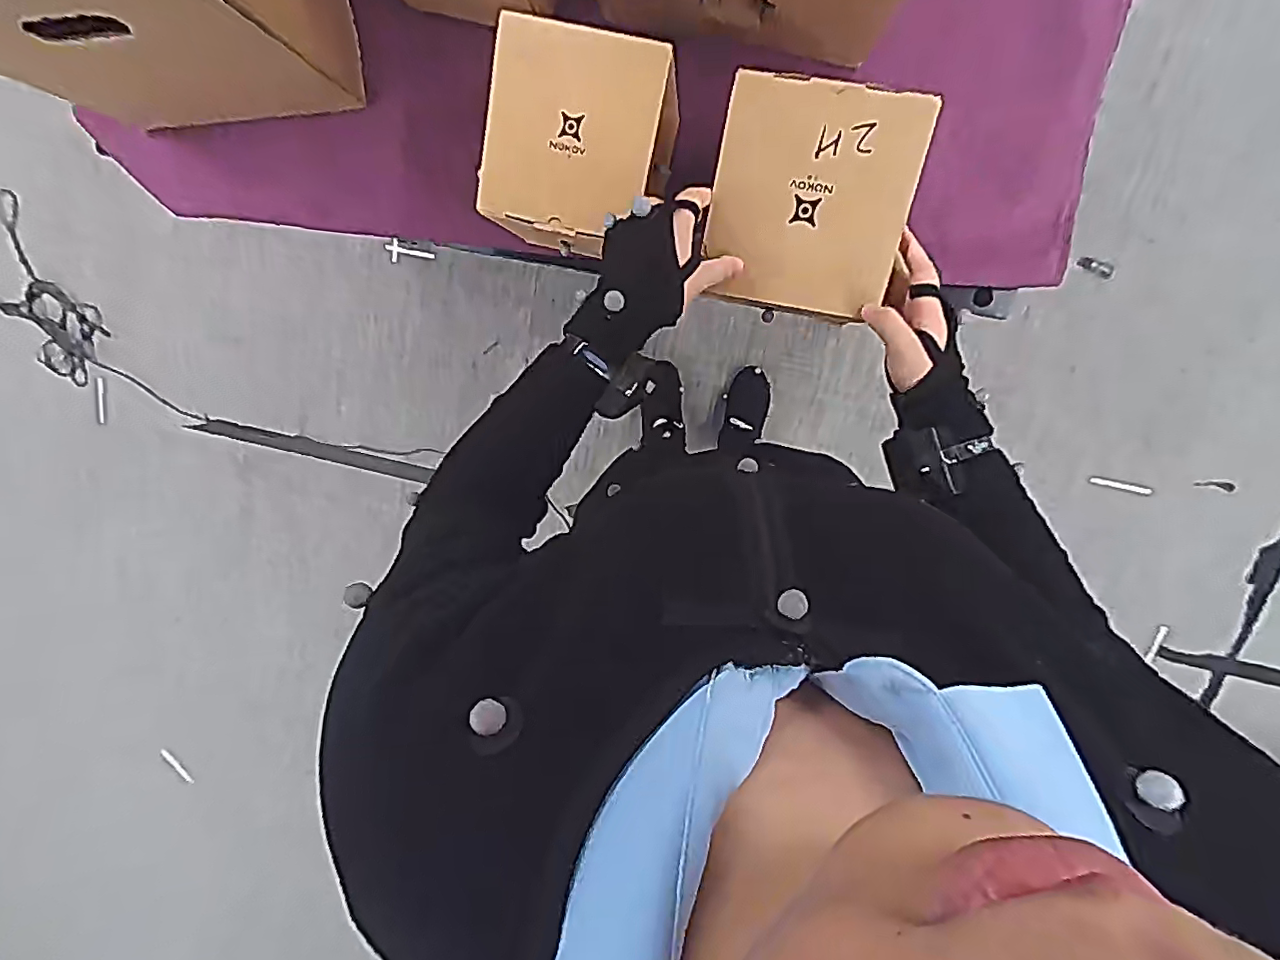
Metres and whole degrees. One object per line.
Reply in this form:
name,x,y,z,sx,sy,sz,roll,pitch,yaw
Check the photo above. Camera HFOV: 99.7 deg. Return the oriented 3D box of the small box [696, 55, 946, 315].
small box,0.156,-0.264,0.526,0.168,0.176,0.179,12,107,5
